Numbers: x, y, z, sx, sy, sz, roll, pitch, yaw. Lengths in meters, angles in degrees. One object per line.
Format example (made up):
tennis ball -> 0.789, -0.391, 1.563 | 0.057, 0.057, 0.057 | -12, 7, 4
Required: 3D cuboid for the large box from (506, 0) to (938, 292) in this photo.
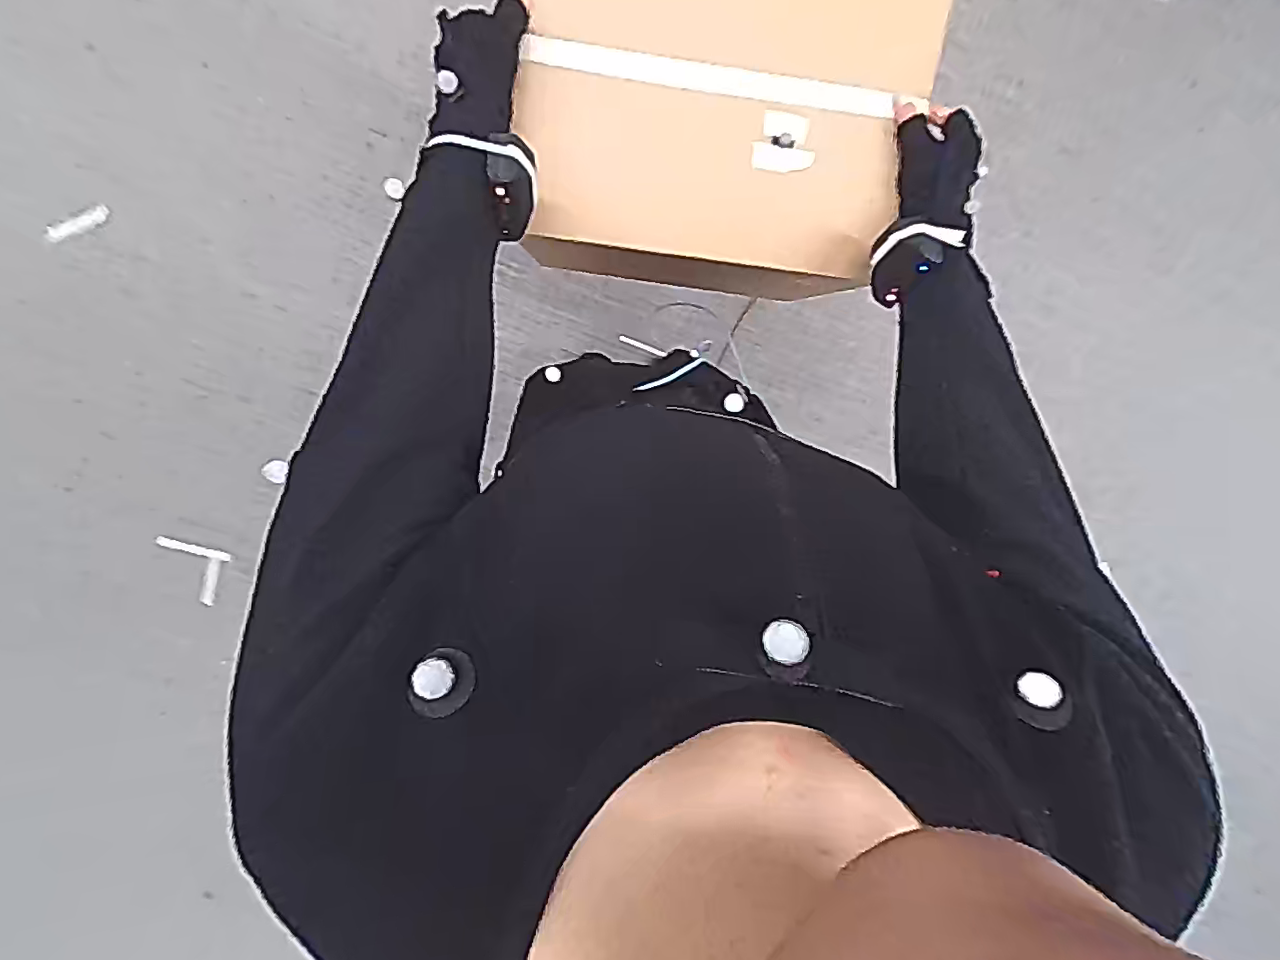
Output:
large box -> 0.066, -0.423, 0.664 | 0.408, 0.320, 0.320 | 6, 106, -5
